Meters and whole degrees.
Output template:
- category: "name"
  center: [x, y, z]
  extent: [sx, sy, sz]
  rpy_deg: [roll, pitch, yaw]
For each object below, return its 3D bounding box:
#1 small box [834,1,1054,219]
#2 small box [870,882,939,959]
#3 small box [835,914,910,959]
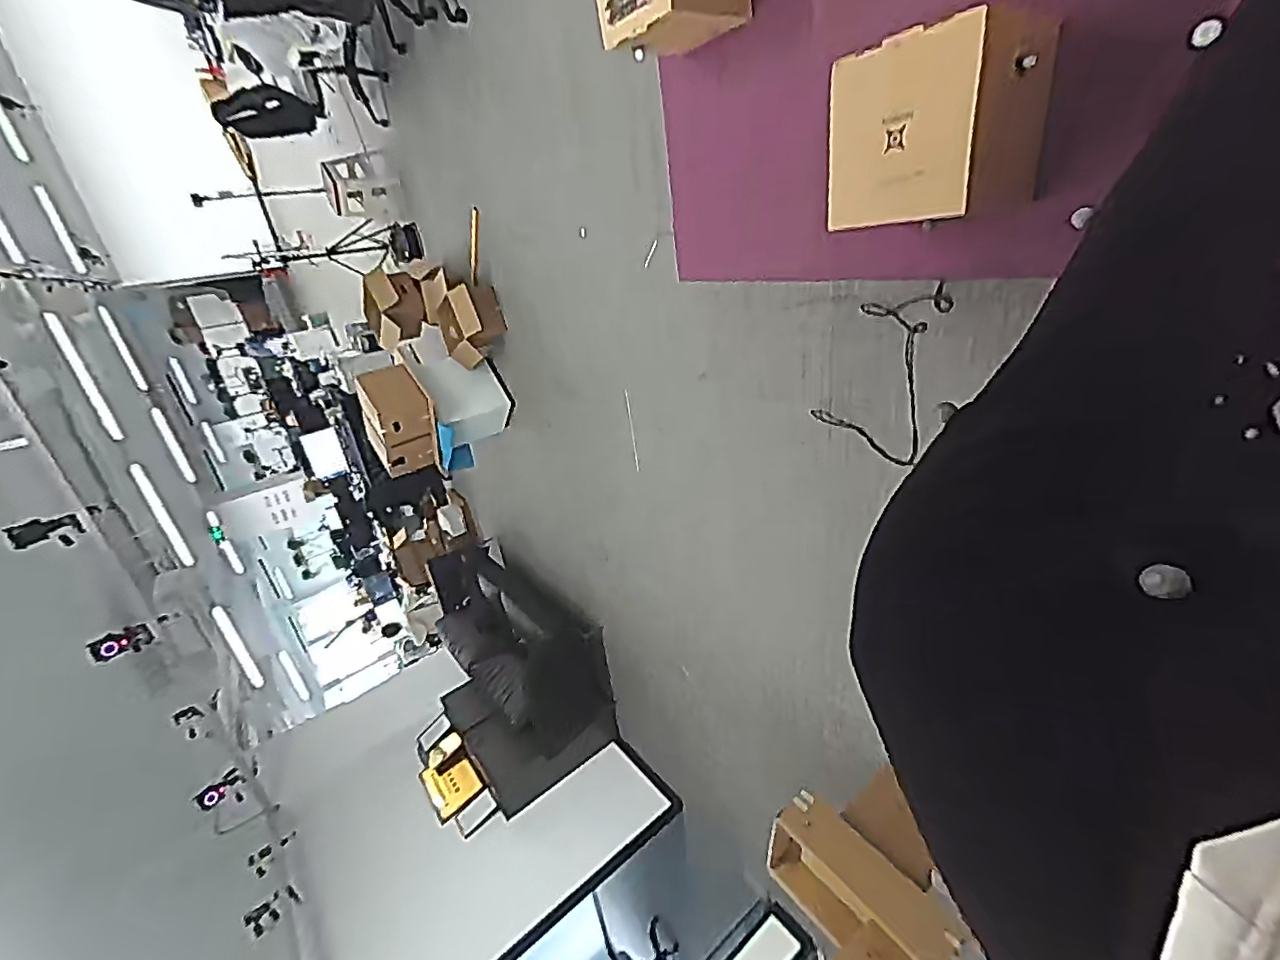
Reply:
- category: "small box"
  center: [0.352, -0.416, 0.637]
  extent: [0.168, 0.176, 0.179]
  rpy_deg: [25, 130, 50]
- category: "small box"
  center: [0.885, 1.524, 1.836]
  extent: [0.168, 0.176, 0.179]
  rpy_deg: [31, 137, 44]
- category: "small box"
  center: [0.753, 1.579, 1.755]
  extent: [0.168, 0.176, 0.179]
  rpy_deg: [28, 134, 45]
